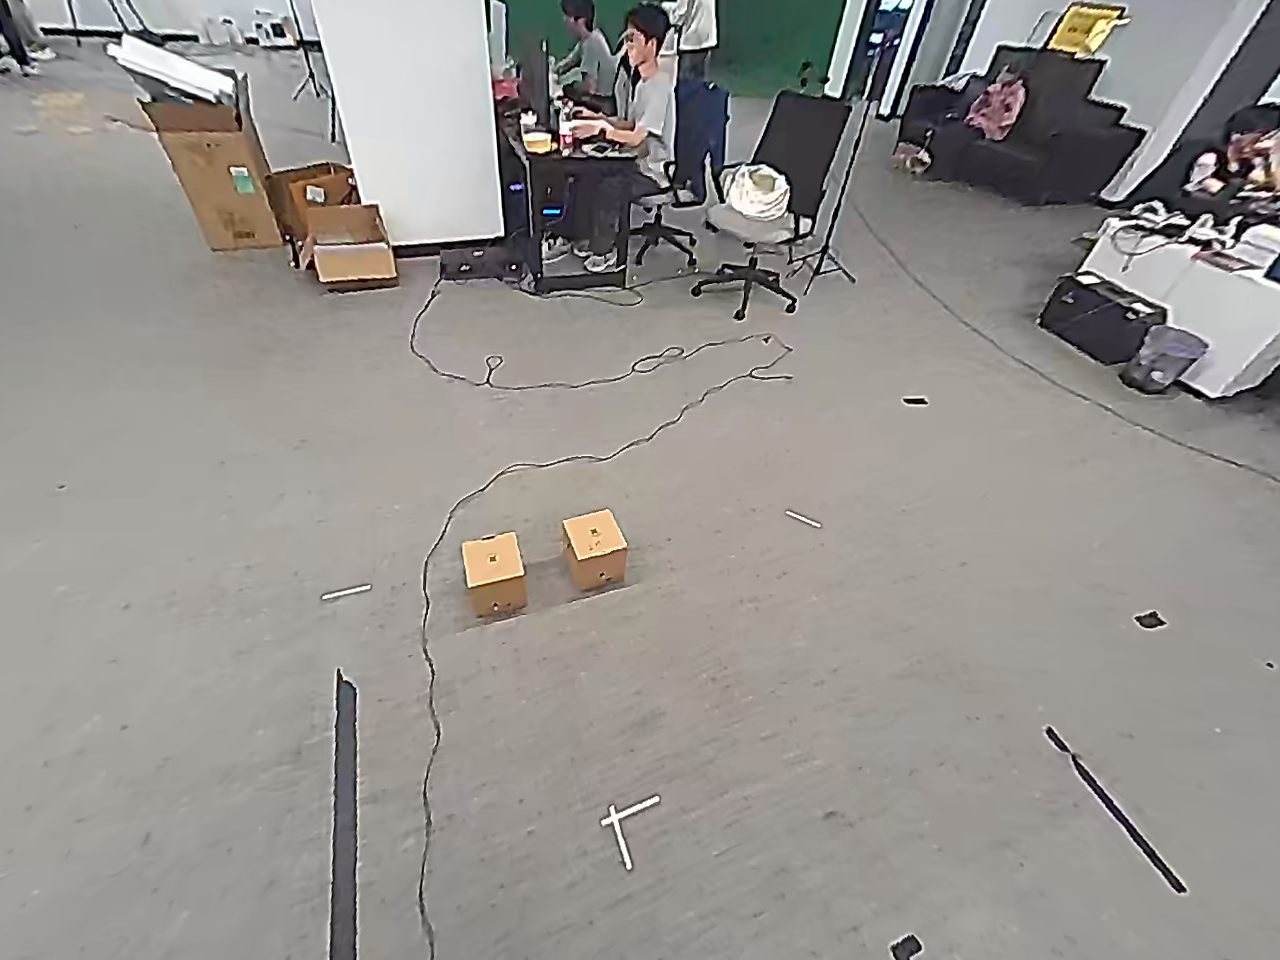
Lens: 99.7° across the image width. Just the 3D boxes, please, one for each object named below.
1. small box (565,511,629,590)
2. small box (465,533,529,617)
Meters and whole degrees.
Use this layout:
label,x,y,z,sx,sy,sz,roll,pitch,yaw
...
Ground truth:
label,x,y,z,sx,sy,sz,roll,pitch,yaw
small box,-0.147,0.234,1.788,0.168,0.176,0.179,-13,48,-19
small box,-0.446,0.298,1.691,0.168,0.176,0.179,-11,47,-16
